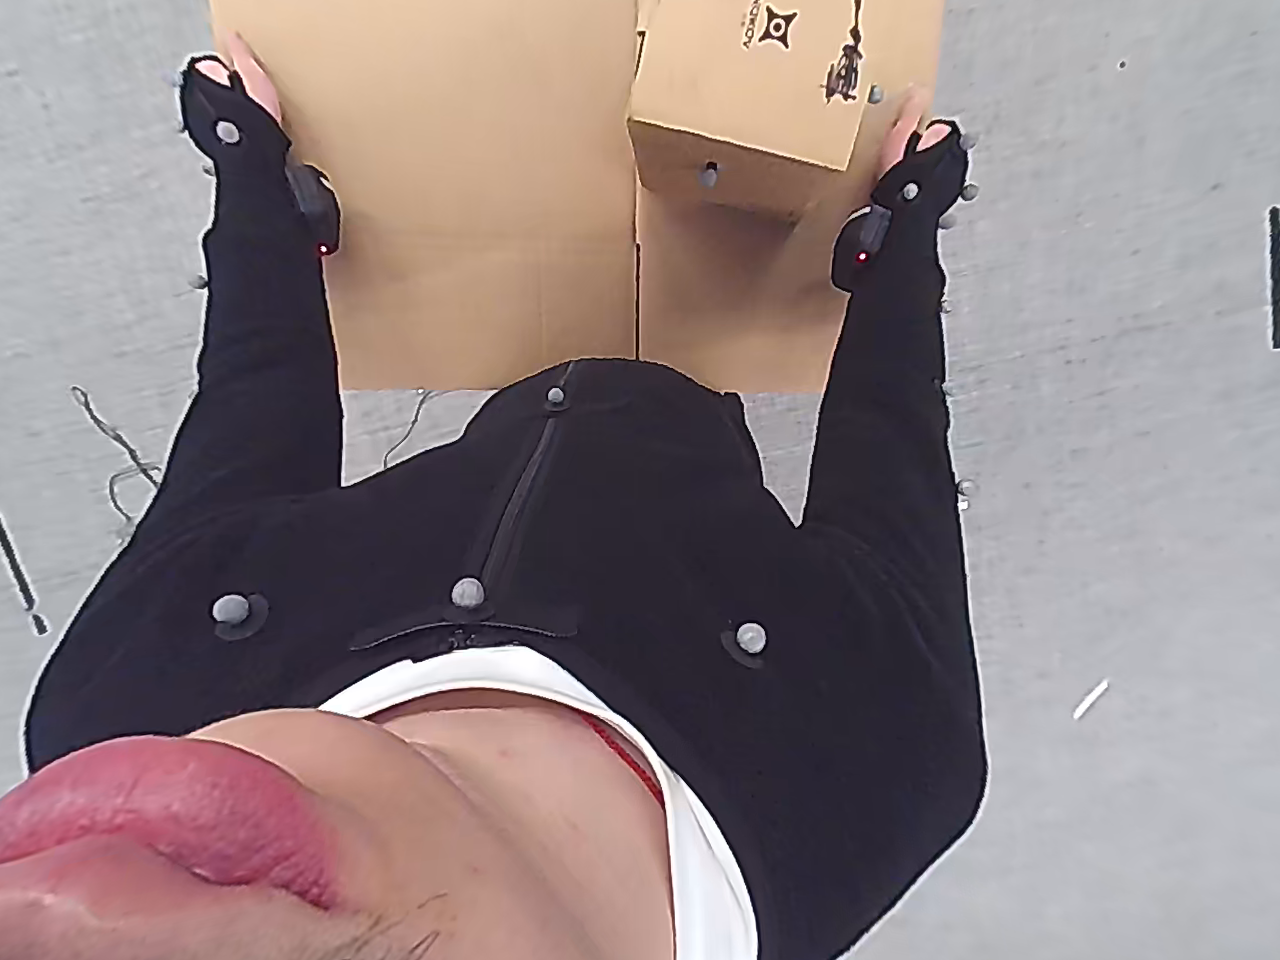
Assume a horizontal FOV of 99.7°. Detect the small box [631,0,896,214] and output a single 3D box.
[{"bbox_3d":[0.102,-0.356,0.480,0.179,0.176,0.168,14,104,1],"label":"small box"}]
